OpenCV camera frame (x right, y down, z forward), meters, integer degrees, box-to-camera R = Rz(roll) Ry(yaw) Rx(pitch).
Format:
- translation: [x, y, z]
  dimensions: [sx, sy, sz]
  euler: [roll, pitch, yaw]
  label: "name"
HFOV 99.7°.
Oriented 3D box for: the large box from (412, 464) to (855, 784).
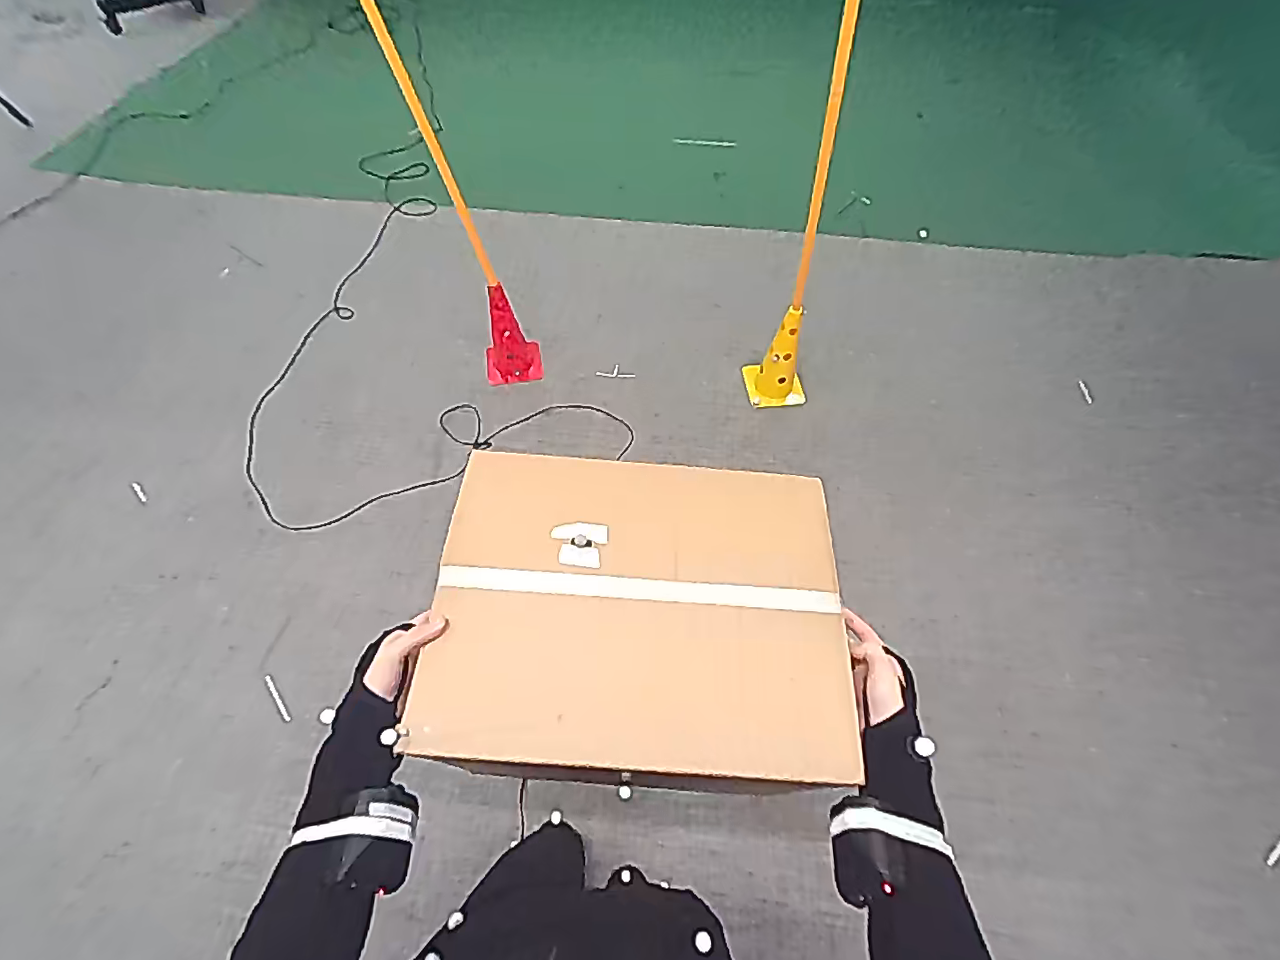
- translation: [-0.003, 0.198, 0.683]
  dimensions: [0.408, 0.320, 0.320]
  euler: [4, 57, 0]
  label: "large box"
